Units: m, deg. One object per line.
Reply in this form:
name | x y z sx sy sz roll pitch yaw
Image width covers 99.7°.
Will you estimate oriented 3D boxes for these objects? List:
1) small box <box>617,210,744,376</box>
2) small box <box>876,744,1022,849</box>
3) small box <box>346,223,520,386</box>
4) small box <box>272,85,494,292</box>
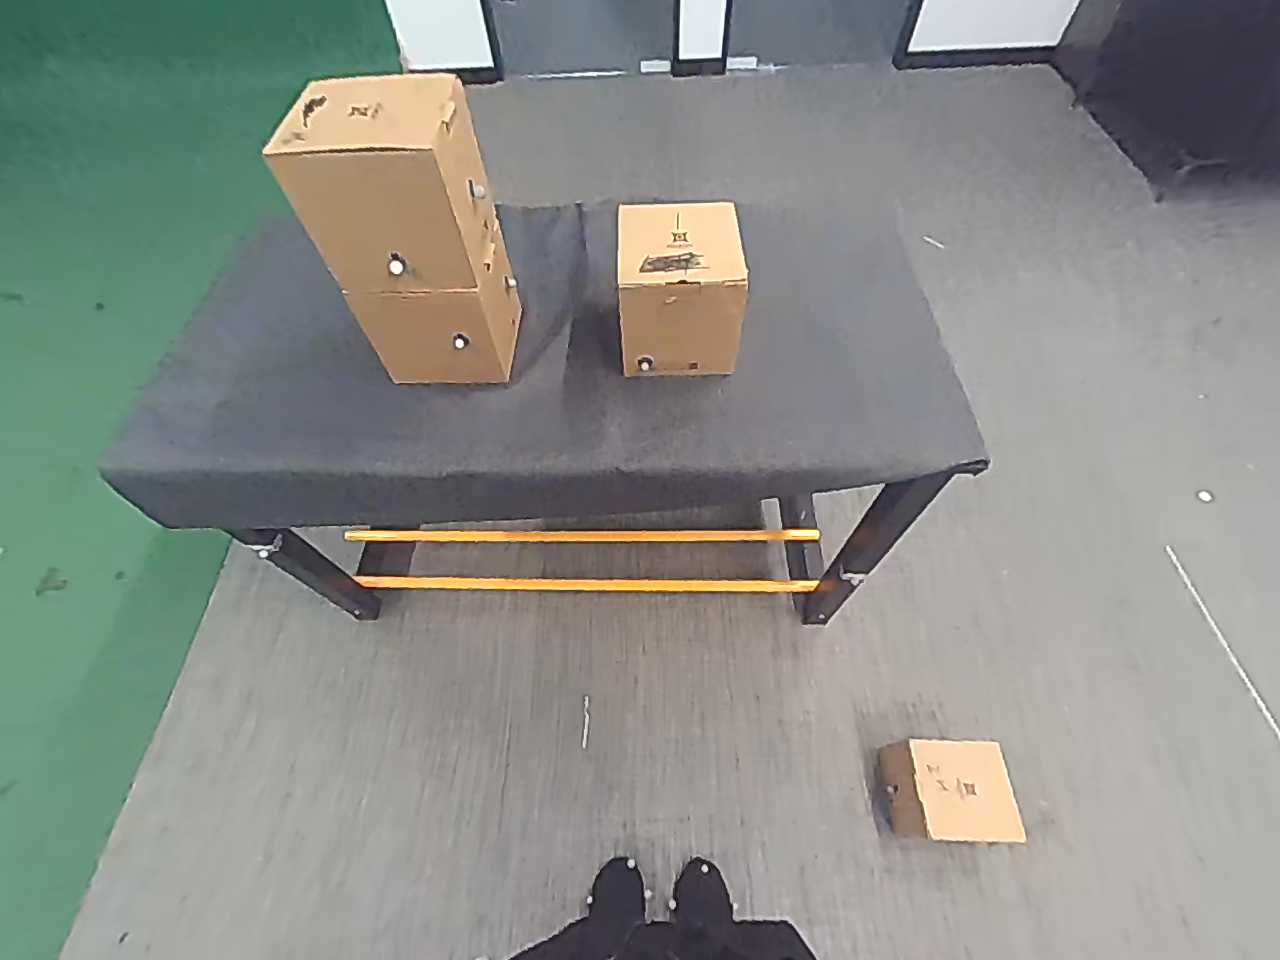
small box | 0.054 -0.267 0.794 0.168 0.176 0.179 -1 56 0
small box | 0.599 0.627 1.072 0.179 0.176 0.168 0 57 2
small box | -0.283 -0.251 0.791 0.179 0.176 0.168 -1 56 1
small box | -0.288 -0.347 0.658 0.179 0.176 0.168 -1 56 0
